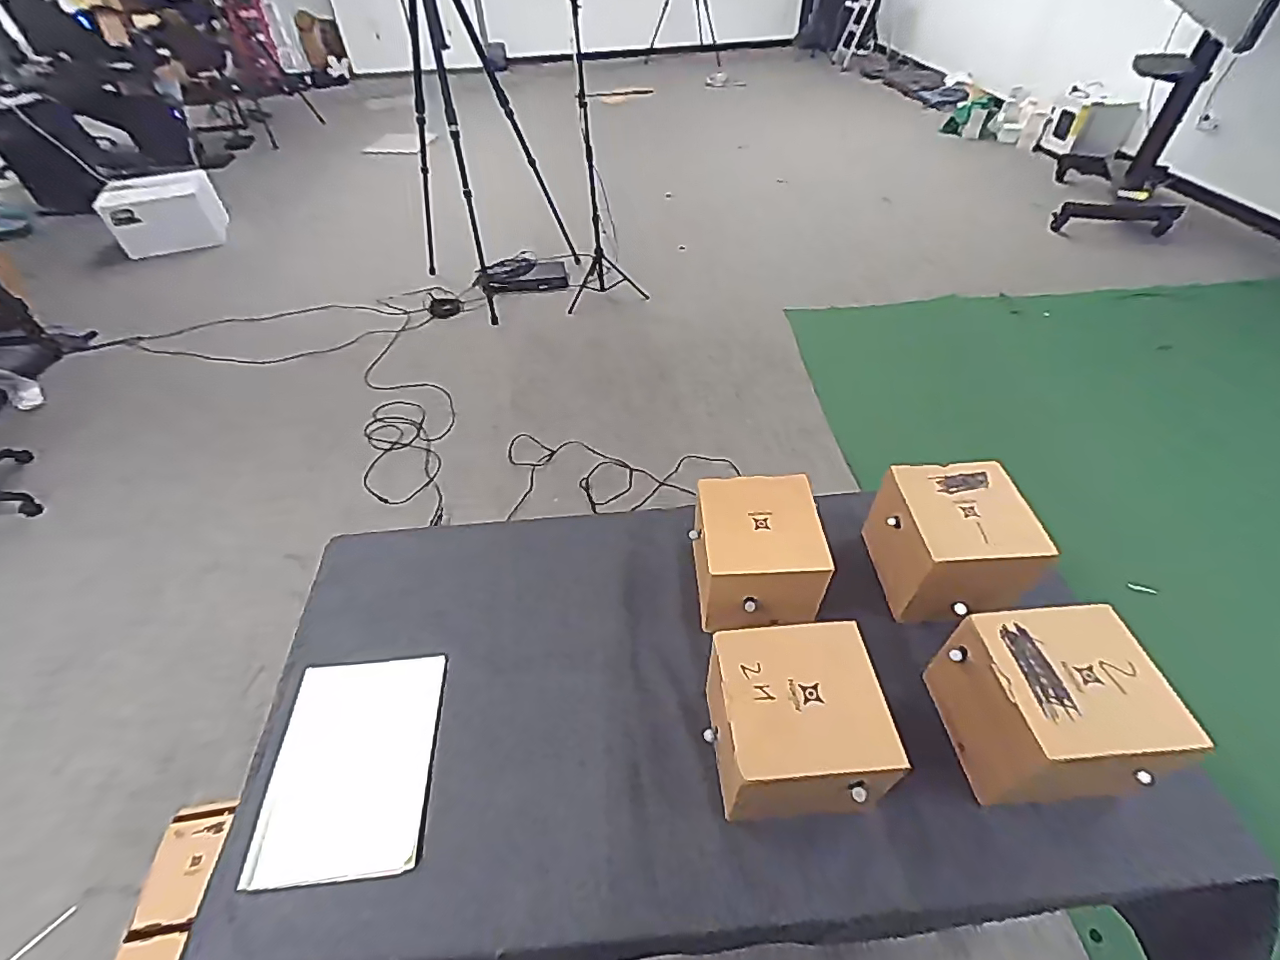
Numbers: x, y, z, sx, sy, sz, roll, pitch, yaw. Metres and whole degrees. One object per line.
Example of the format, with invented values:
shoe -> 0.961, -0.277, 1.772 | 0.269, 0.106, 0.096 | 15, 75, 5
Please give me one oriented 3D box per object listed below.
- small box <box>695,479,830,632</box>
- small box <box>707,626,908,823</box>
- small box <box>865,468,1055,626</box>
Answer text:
small box -> 0.173, 0.120, 0.822 | 0.168, 0.176, 0.179 | -2, 46, 1
small box -> 0.181, 0.295, 0.649 | 0.179, 0.176, 0.168 | -4, 45, -1
small box -> 0.462, 0.102, 0.820 | 0.168, 0.176, 0.179 | -3, 47, 1
